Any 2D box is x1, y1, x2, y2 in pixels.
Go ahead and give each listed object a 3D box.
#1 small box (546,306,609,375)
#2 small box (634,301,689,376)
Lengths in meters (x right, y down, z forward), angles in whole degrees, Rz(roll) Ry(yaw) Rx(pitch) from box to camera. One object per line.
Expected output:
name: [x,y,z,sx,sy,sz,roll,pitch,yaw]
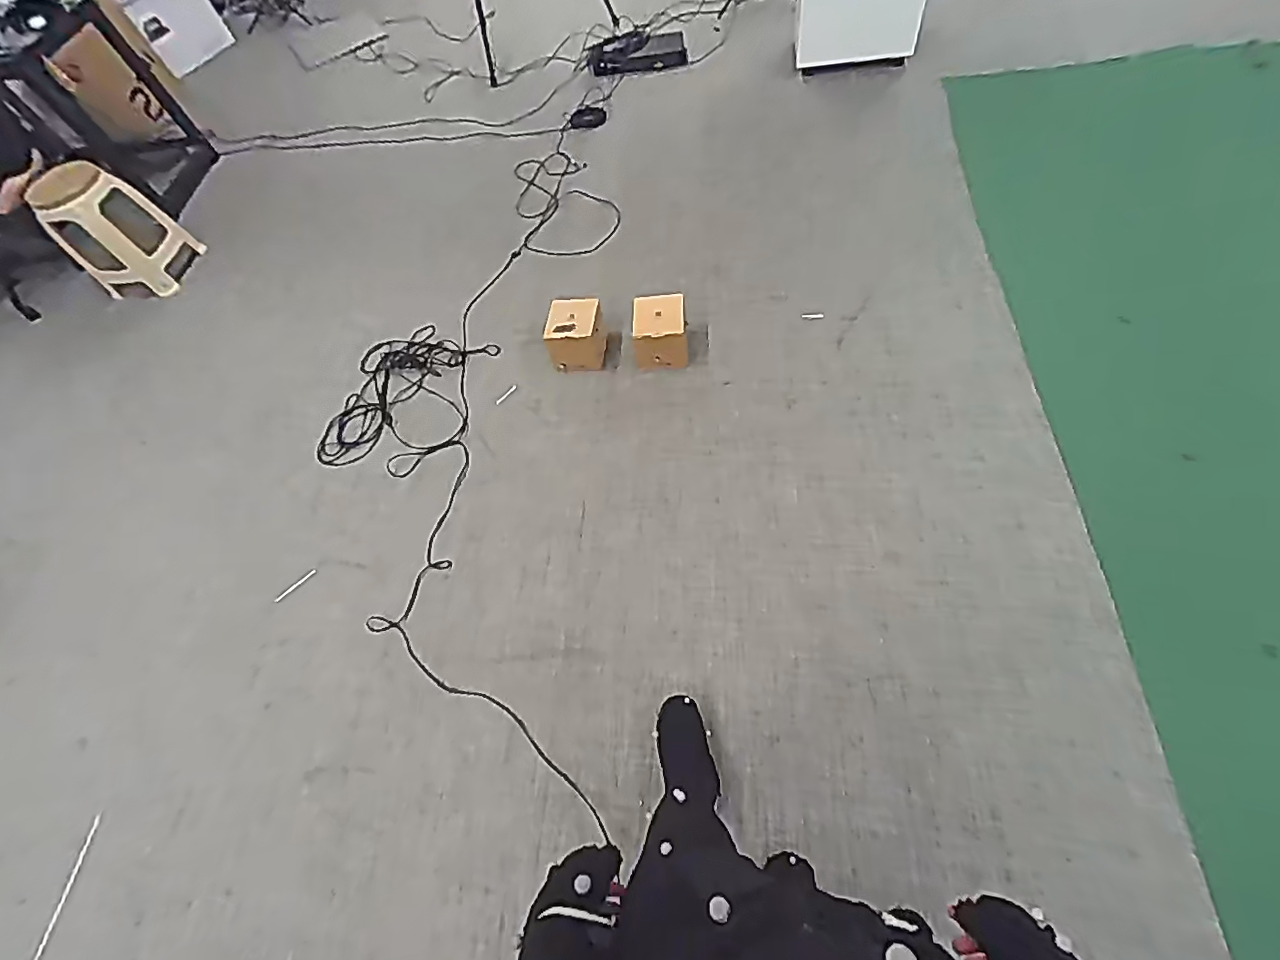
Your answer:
small box: [-0.211,-0.479,1.879,0.168,0.176,0.179,2,61,11]
small box: [0.076,-0.475,1.828,0.168,0.176,0.179,-3,61,9]
